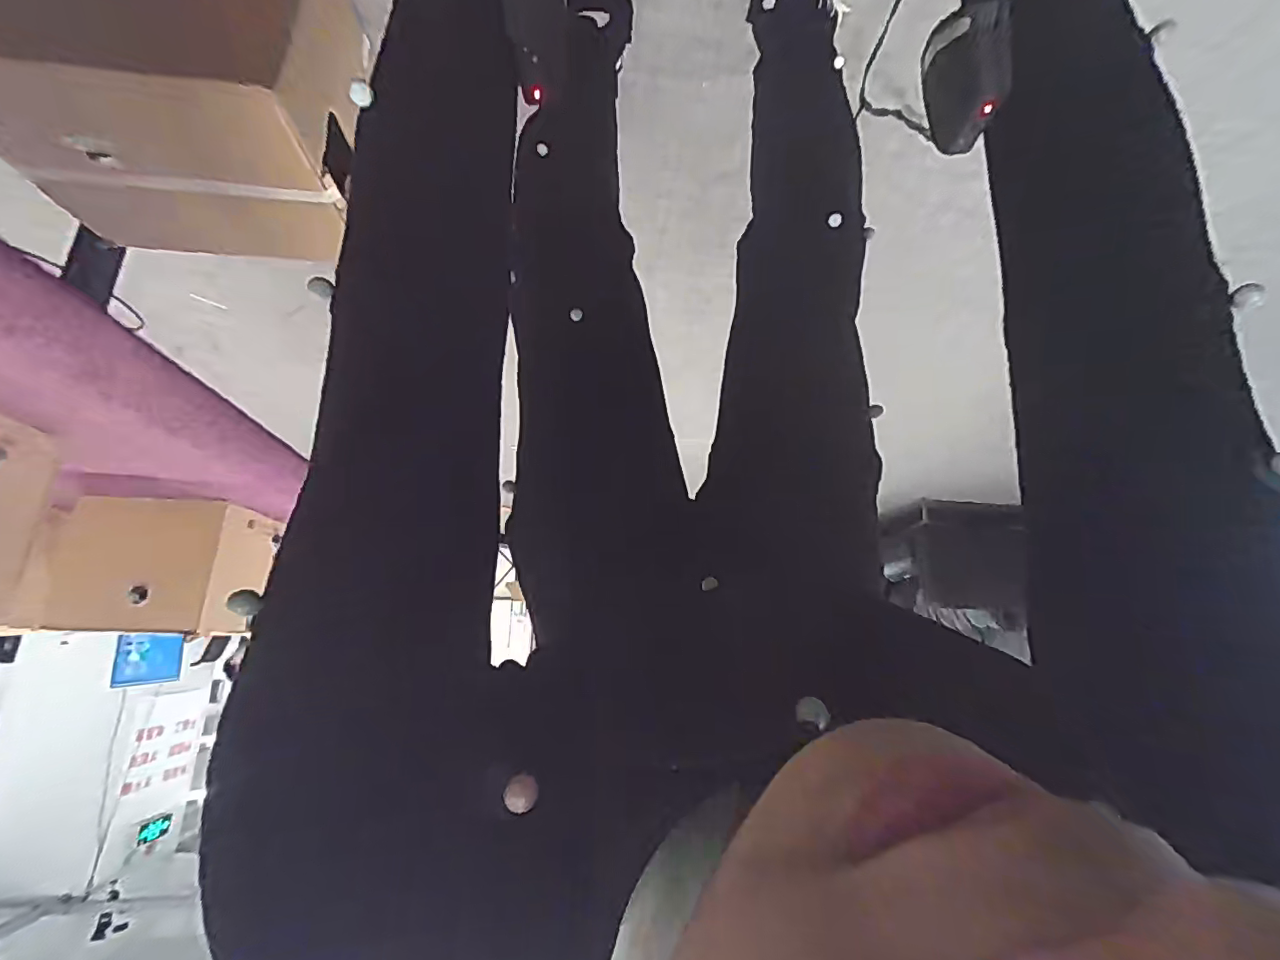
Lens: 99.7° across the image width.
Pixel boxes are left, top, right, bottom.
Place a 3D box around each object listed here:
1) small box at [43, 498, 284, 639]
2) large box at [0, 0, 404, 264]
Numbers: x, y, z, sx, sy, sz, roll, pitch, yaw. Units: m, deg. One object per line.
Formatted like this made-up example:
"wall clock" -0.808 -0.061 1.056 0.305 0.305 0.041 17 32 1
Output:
"small box" -0.615 0.125 0.731 0.179 0.176 0.168 4 162 -5
"large box" -0.615 -0.552 0.781 0.408 0.320 0.320 3 162 -4
